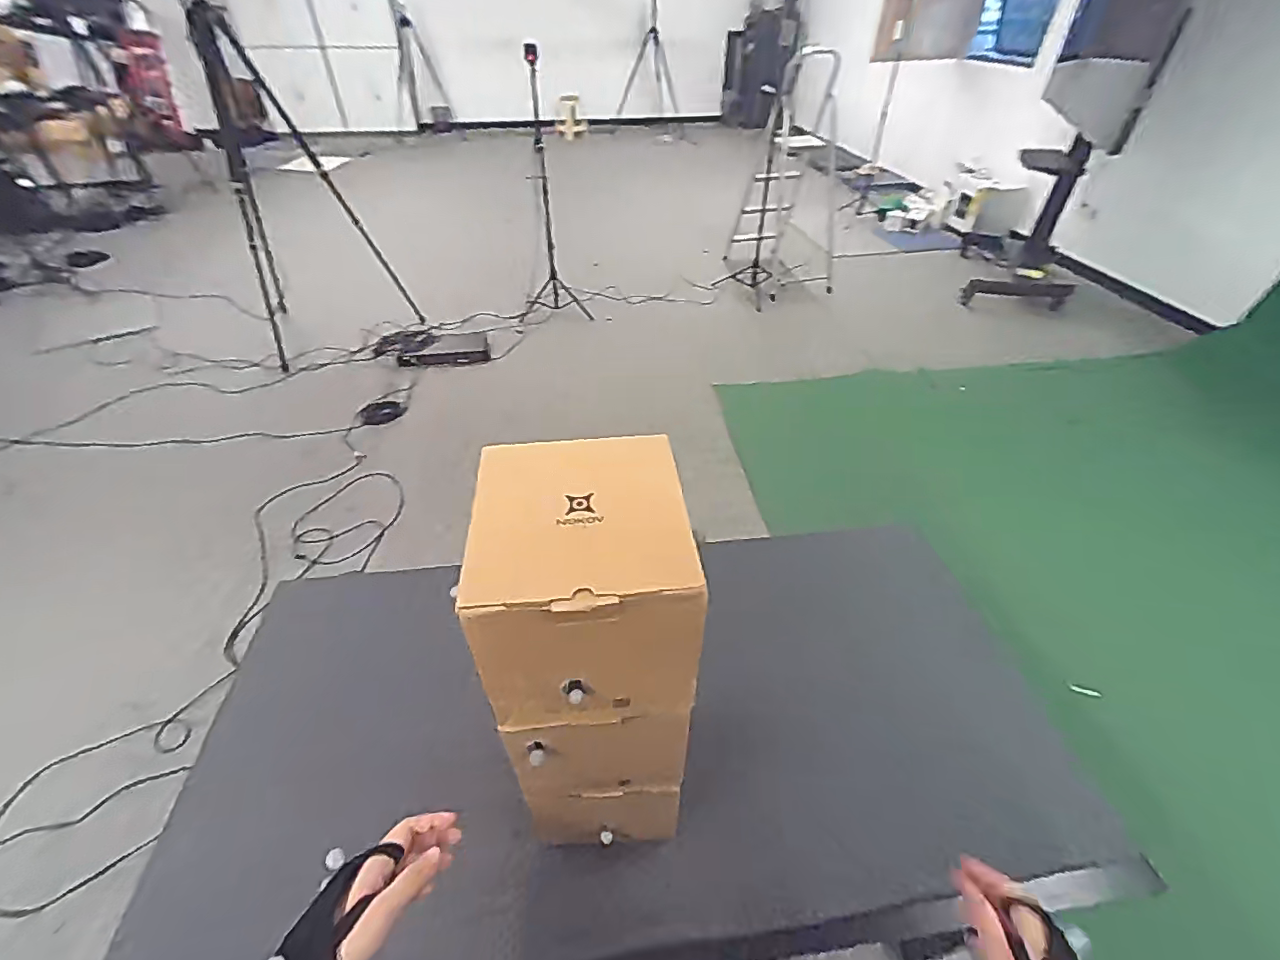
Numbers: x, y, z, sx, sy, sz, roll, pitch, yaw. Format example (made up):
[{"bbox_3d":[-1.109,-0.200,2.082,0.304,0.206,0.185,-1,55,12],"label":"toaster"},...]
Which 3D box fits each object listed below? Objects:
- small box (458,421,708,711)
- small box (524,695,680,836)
[{"bbox_3d":[-0.046,0.069,0.463,0.168,0.176,0.179,-4,41,-5],"label":"small box"},{"bbox_3d":[-0.043,0.317,0.676,0.168,0.176,0.179,-2,41,-2],"label":"small box"}]
